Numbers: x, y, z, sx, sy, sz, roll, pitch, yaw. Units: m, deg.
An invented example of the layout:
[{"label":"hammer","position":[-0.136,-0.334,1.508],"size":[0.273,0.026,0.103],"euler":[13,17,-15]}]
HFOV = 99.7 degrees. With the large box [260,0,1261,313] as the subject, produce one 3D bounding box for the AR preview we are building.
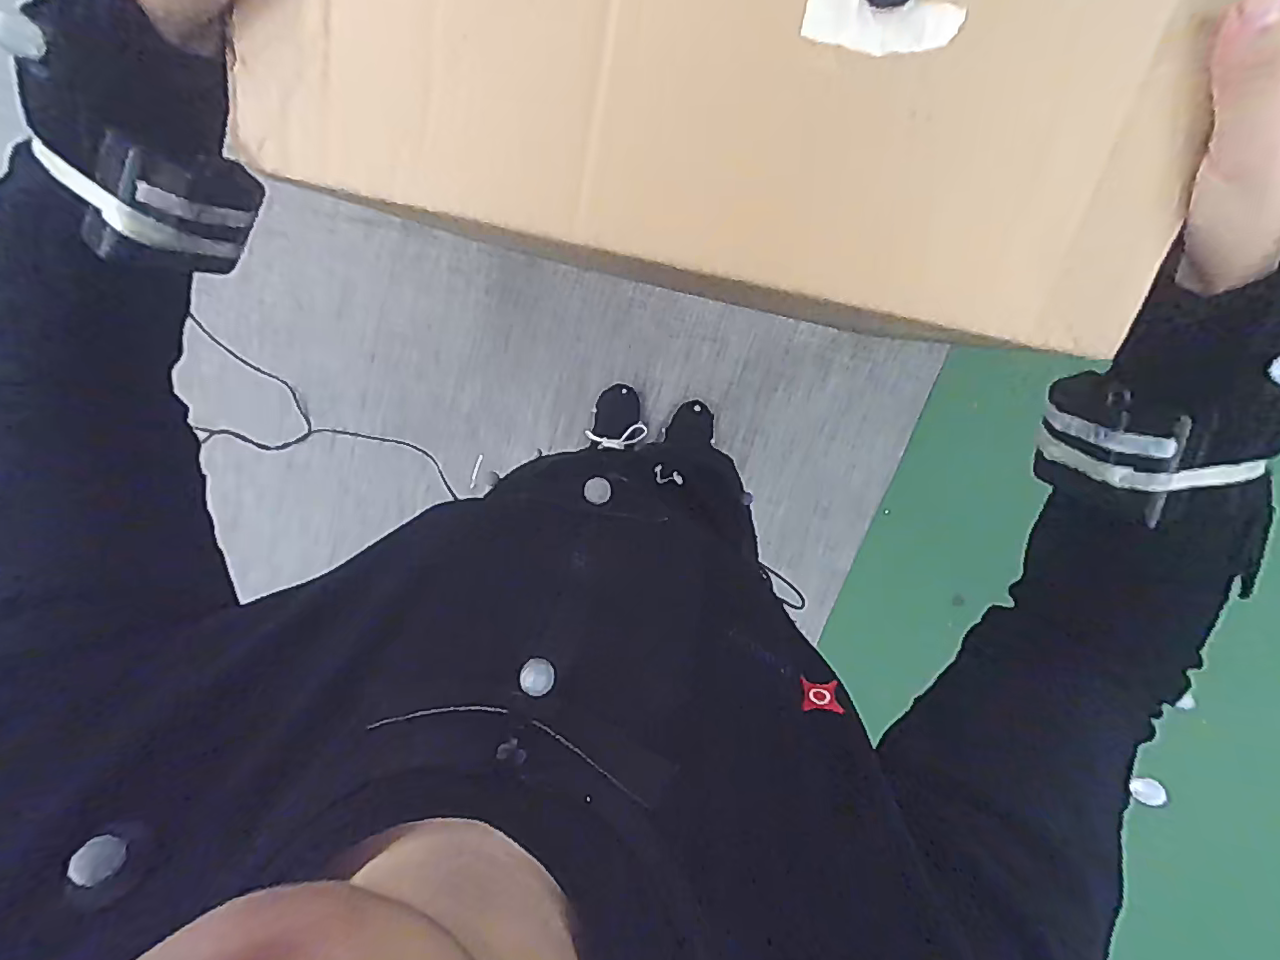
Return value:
[{"label":"large box","position":[0.062,-0.303,0.342],"size":[0.408,0.320,0.320],"euler":[13,108,3]}]
